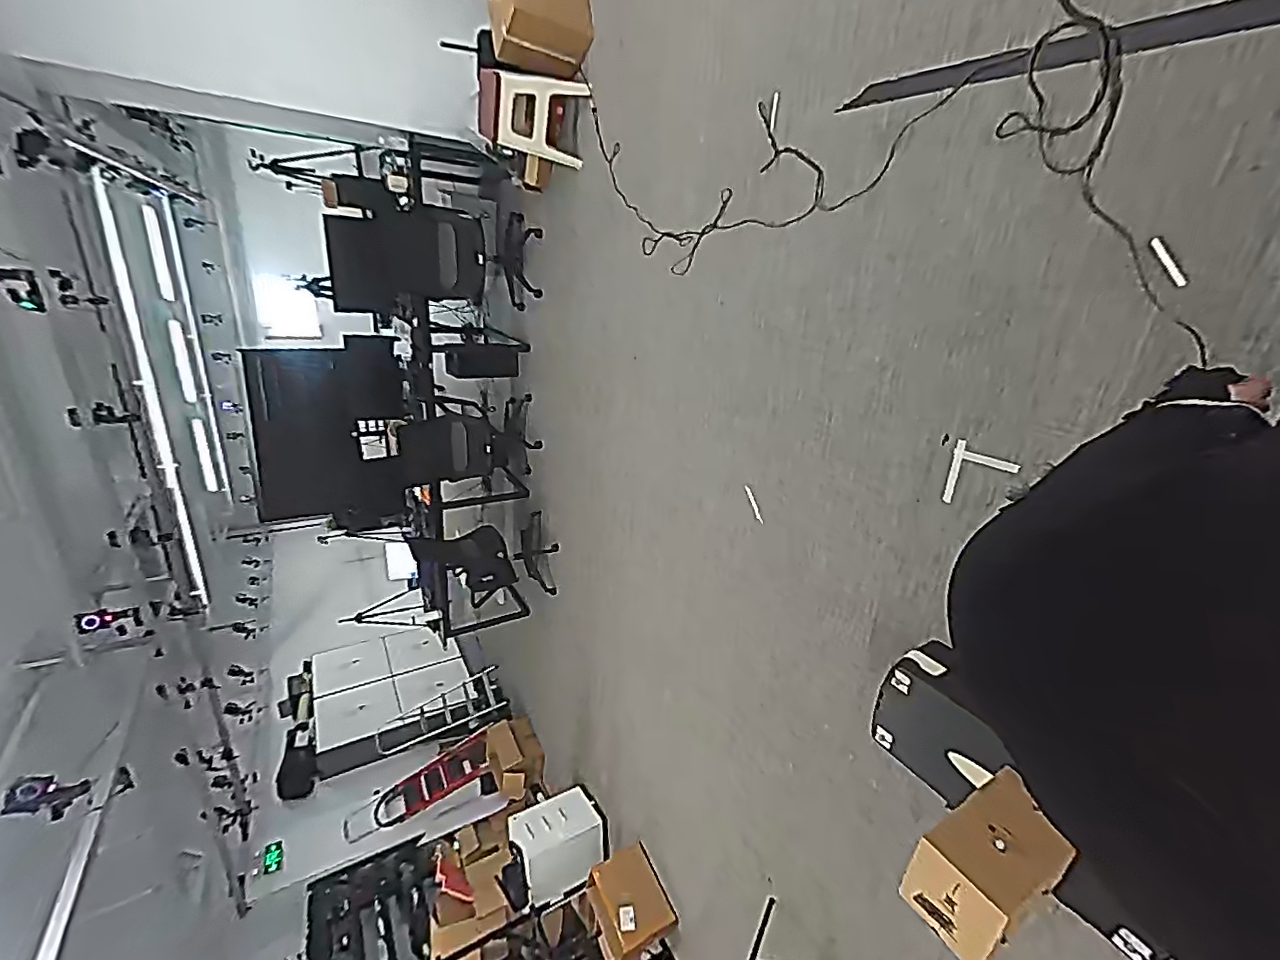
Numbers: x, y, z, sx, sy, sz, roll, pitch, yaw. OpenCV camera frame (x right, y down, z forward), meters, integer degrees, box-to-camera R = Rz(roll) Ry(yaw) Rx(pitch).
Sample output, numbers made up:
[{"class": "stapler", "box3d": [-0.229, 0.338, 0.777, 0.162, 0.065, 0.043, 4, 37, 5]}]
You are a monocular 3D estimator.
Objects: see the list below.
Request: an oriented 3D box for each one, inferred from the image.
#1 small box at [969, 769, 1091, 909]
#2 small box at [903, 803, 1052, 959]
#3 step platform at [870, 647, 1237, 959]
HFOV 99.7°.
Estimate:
[{"class": "small box", "box3d": [0.795, 0.756, 1.134, 0.168, 0.176, 0.179, 36, 127, 50]}, {"class": "small box", "box3d": [0.655, 0.781, 1.052, 0.168, 0.176, 0.179, 36, 127, 51]}, {"class": "step platform", "box3d": [0.899, 0.720, 1.293, 0.684, 0.204, 0.286, 33, 126, 51]}]
